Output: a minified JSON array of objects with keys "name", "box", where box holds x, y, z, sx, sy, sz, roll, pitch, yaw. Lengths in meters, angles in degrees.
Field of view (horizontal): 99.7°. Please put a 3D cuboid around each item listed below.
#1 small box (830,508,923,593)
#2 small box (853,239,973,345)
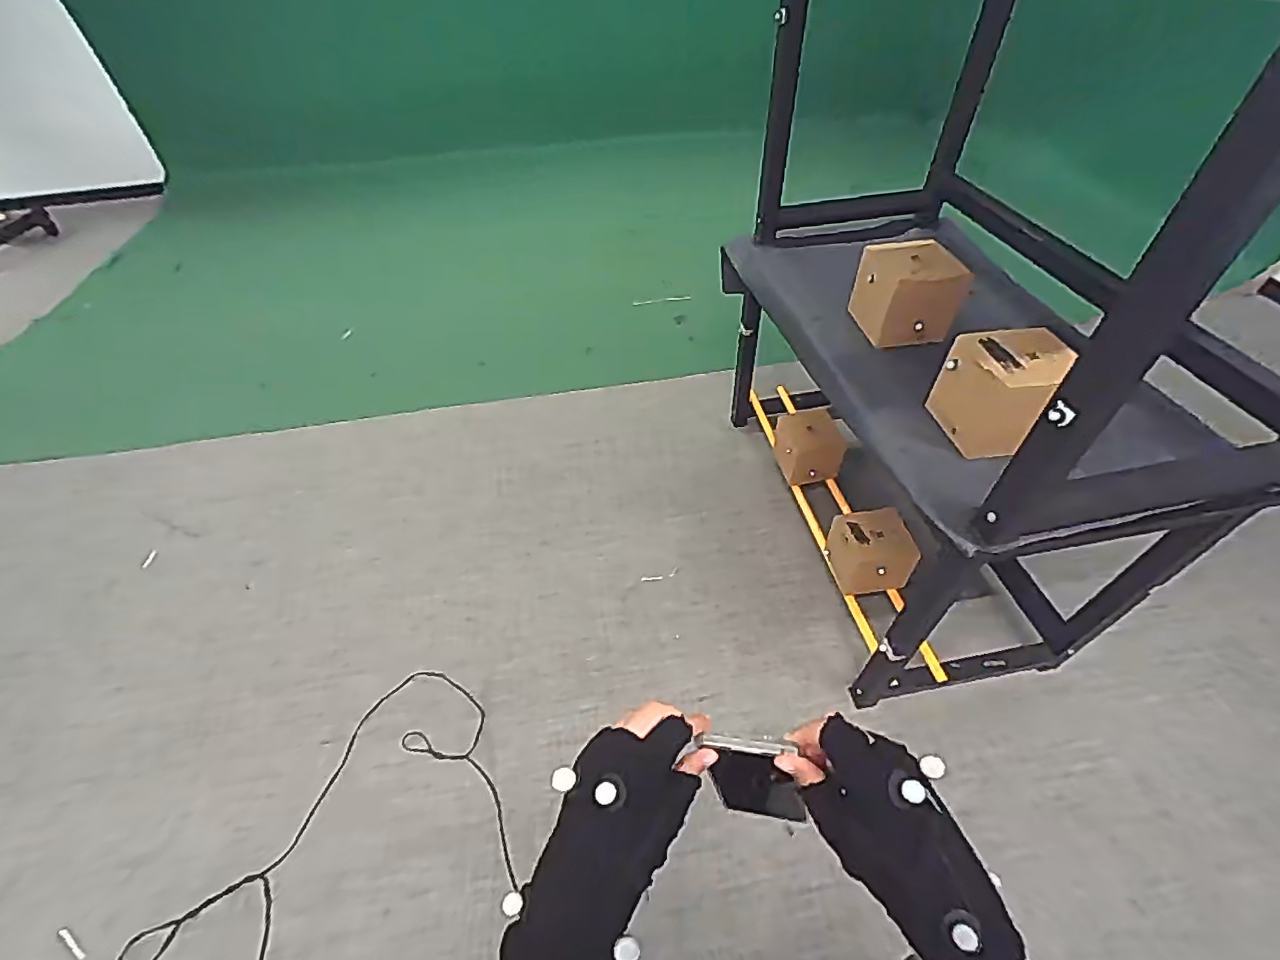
[{"name":"small box","box":[0.647,0.201,1.511,0.179,0.176,0.168,-7,48,-2]},{"name":"small box","box":[0.616,-0.433,1.247,0.168,0.176,0.179,-7,47,-2]}]
